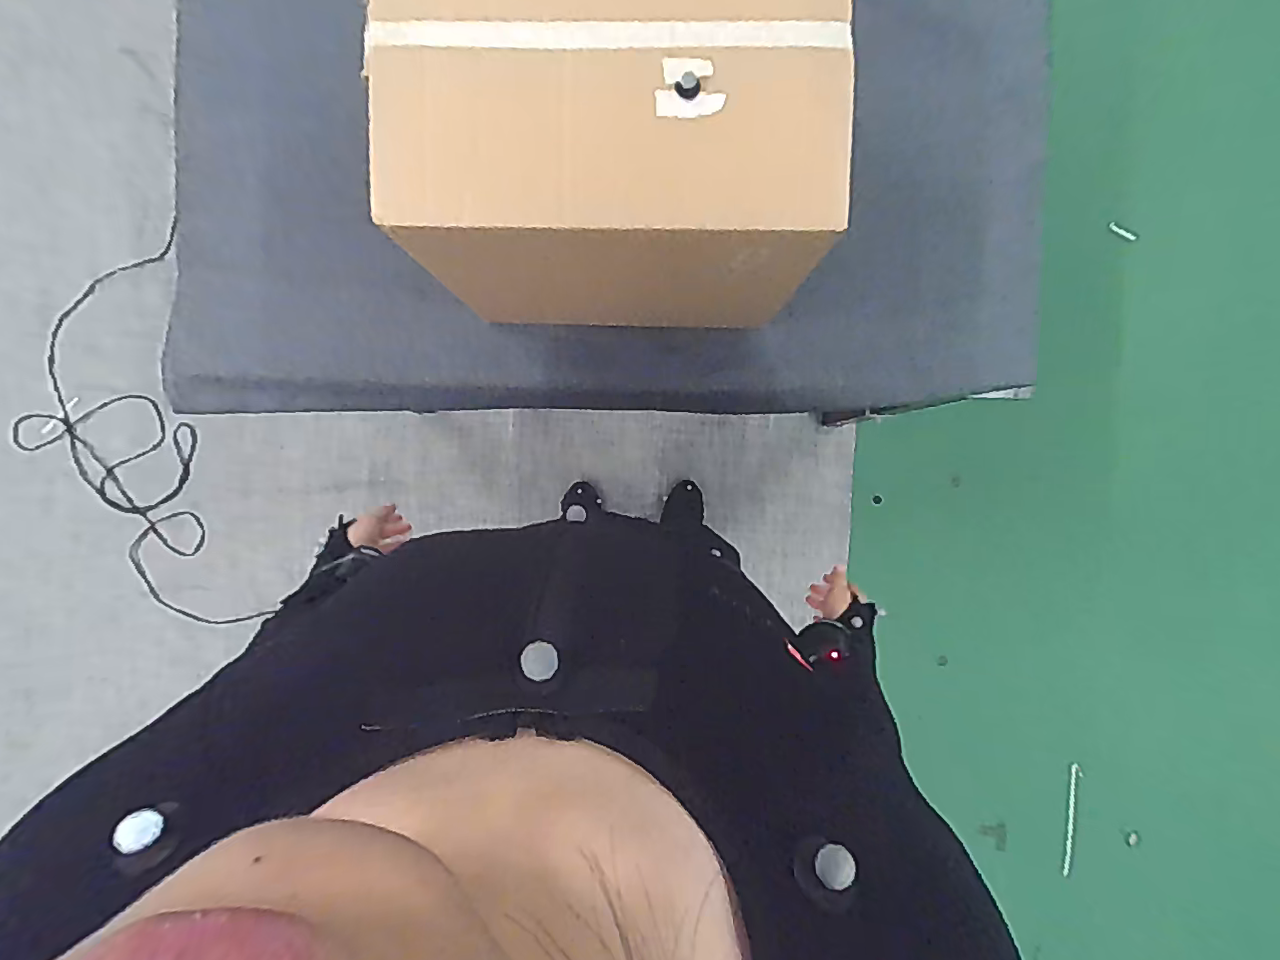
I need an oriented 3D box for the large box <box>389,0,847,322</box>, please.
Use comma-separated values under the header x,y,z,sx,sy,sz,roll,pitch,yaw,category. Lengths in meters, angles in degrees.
x,y,z,sx,sy,sz,roll,pitch,yaw,category
-0.020,-0.377,0.617,0.408,0.320,0.320,1,92,0,large box
